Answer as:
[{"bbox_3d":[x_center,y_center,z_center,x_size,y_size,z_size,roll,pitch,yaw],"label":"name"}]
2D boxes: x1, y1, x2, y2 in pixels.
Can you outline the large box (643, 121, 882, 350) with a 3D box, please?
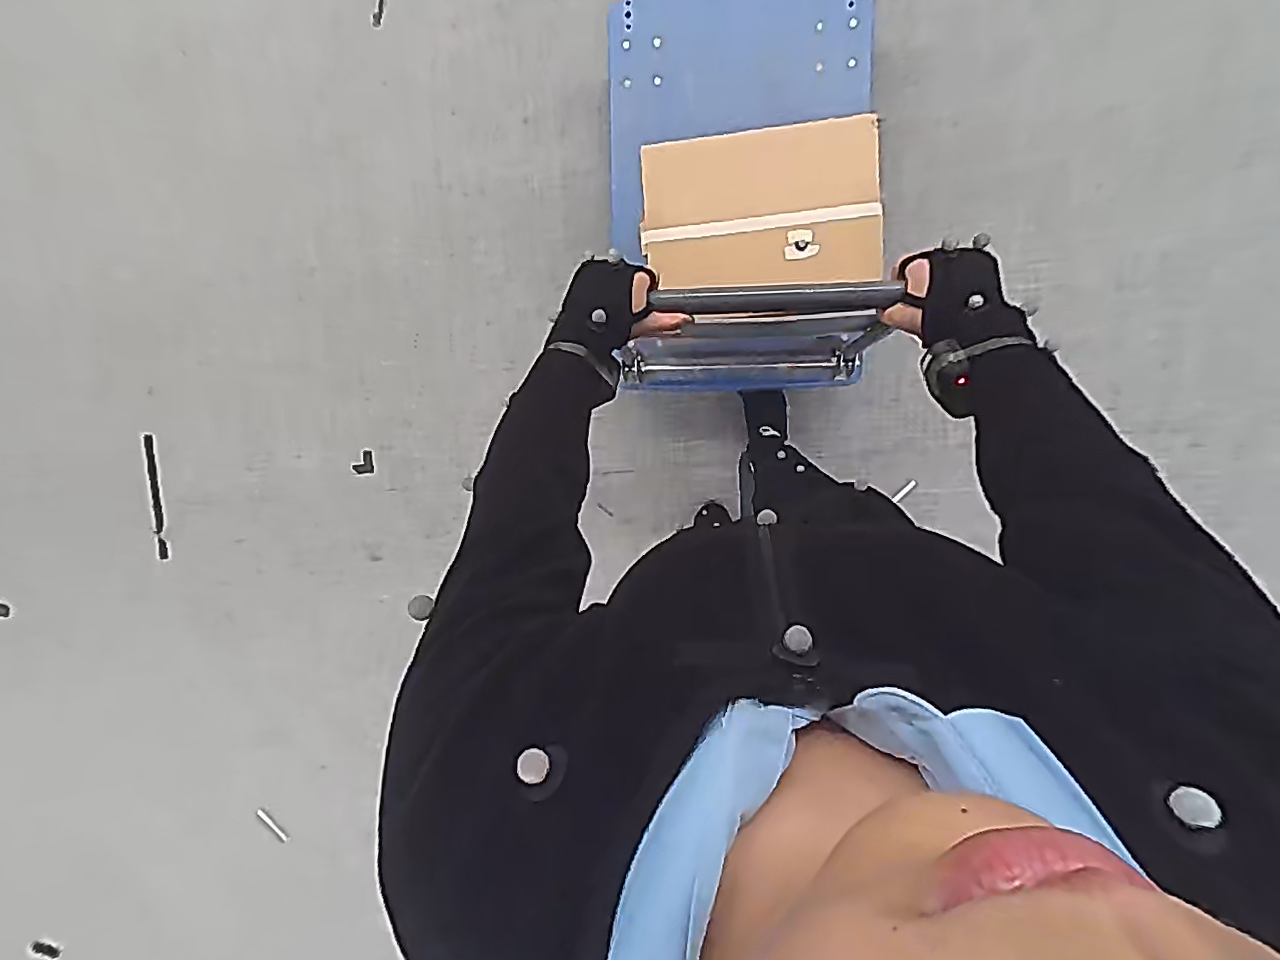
[{"bbox_3d":[0.229,-0.460,1.102,0.408,0.320,0.320,-4,96,6],"label":"large box"}]
